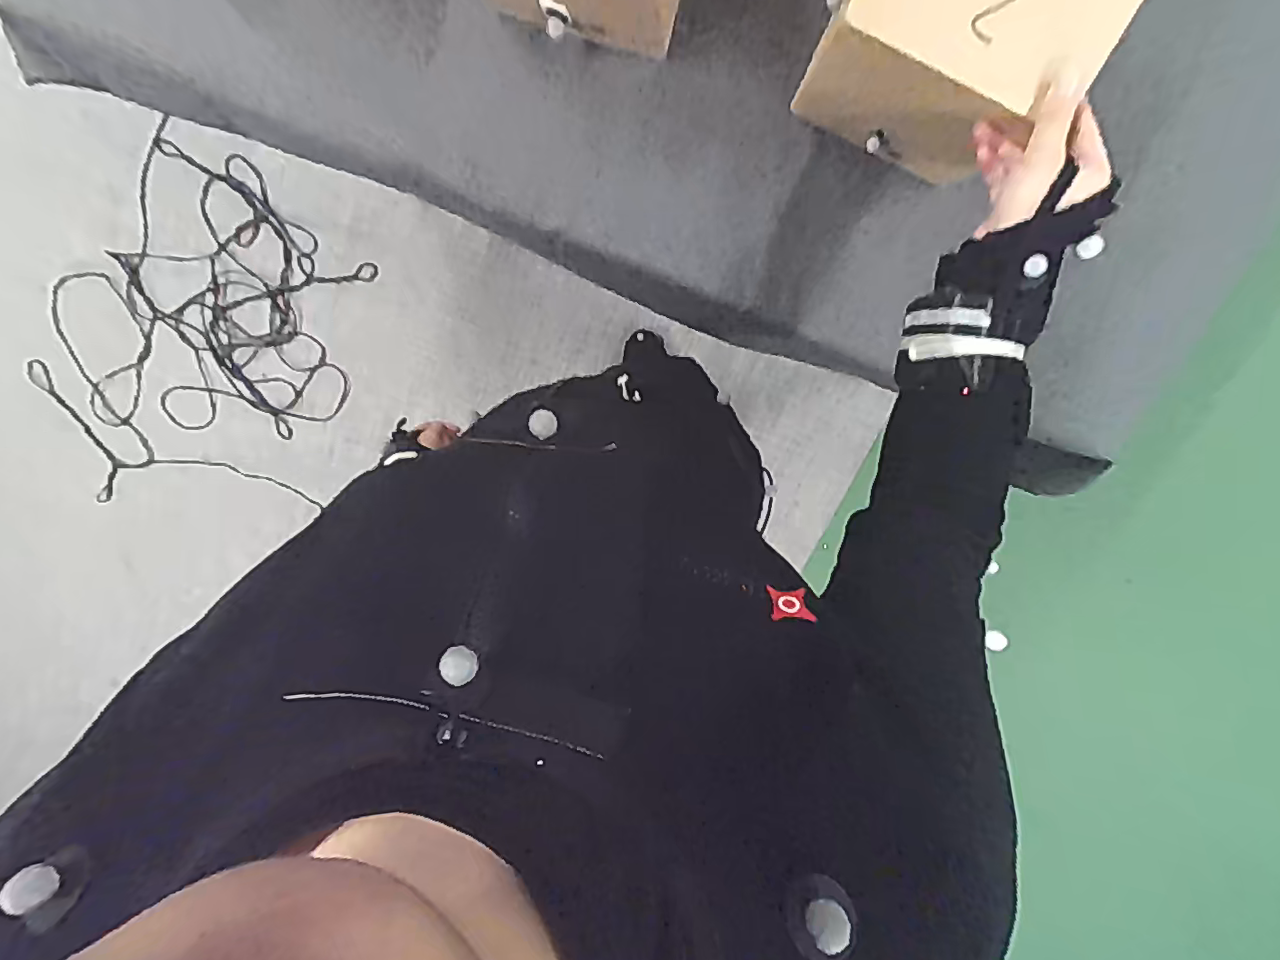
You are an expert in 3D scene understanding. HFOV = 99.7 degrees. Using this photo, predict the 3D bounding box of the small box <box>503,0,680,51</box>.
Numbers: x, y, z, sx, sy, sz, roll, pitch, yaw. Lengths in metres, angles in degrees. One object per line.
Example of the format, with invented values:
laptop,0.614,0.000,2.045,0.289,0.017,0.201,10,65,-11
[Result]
small box,-0.039,-0.463,0.388,0.168,0.176,0.179,14,108,1
